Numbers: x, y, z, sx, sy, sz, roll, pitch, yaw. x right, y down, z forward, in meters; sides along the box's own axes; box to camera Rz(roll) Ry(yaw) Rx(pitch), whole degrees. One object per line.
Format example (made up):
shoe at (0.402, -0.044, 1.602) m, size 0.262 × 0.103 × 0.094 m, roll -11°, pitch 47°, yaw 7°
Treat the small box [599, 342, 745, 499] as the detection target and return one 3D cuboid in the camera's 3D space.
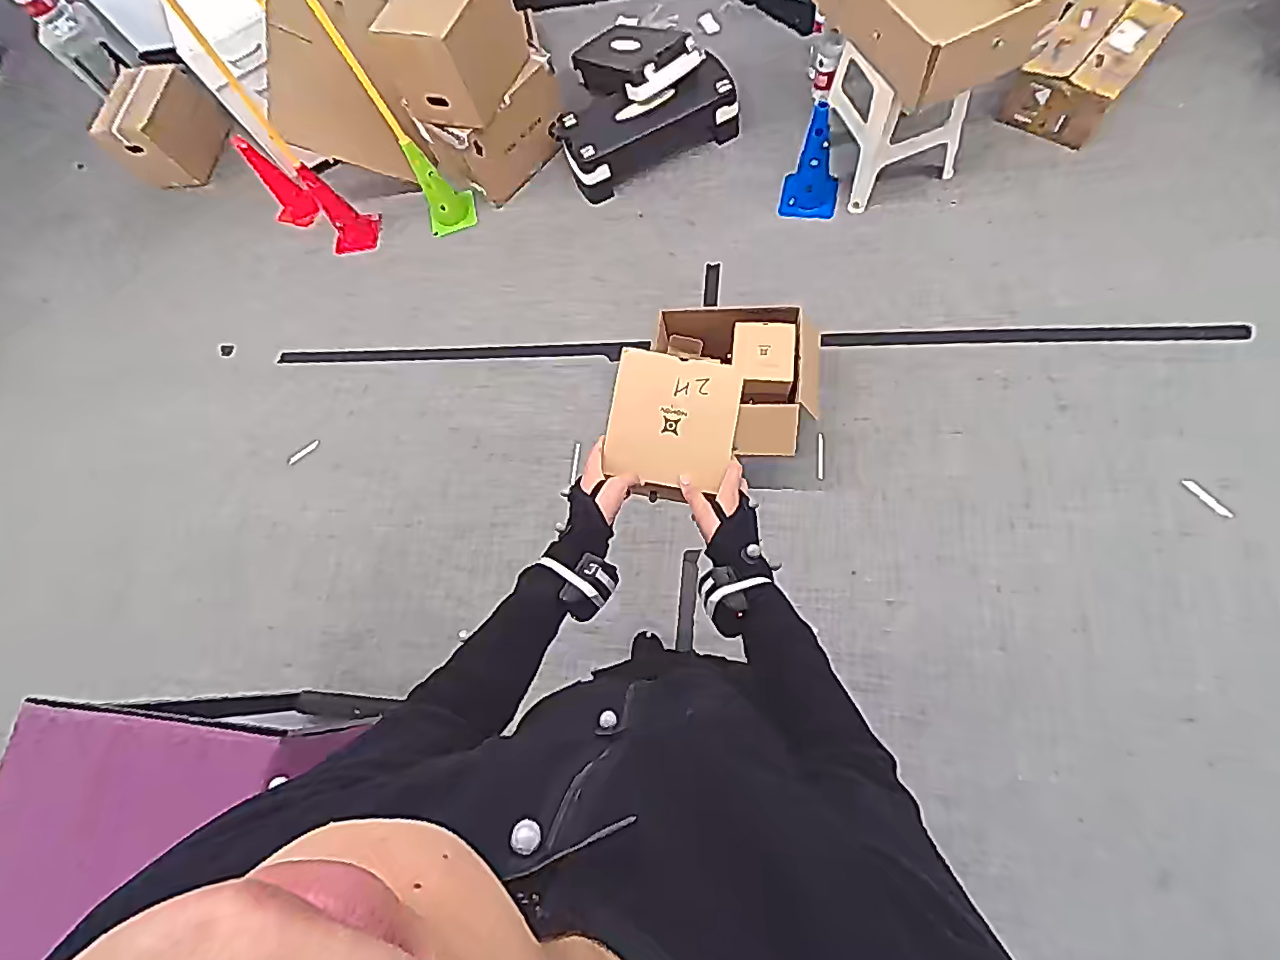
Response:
small box at (0.041, -0.073, 0.781) m, size 0.168 × 0.176 × 0.179 m, roll 11°, pitch 82°, yaw 0°
